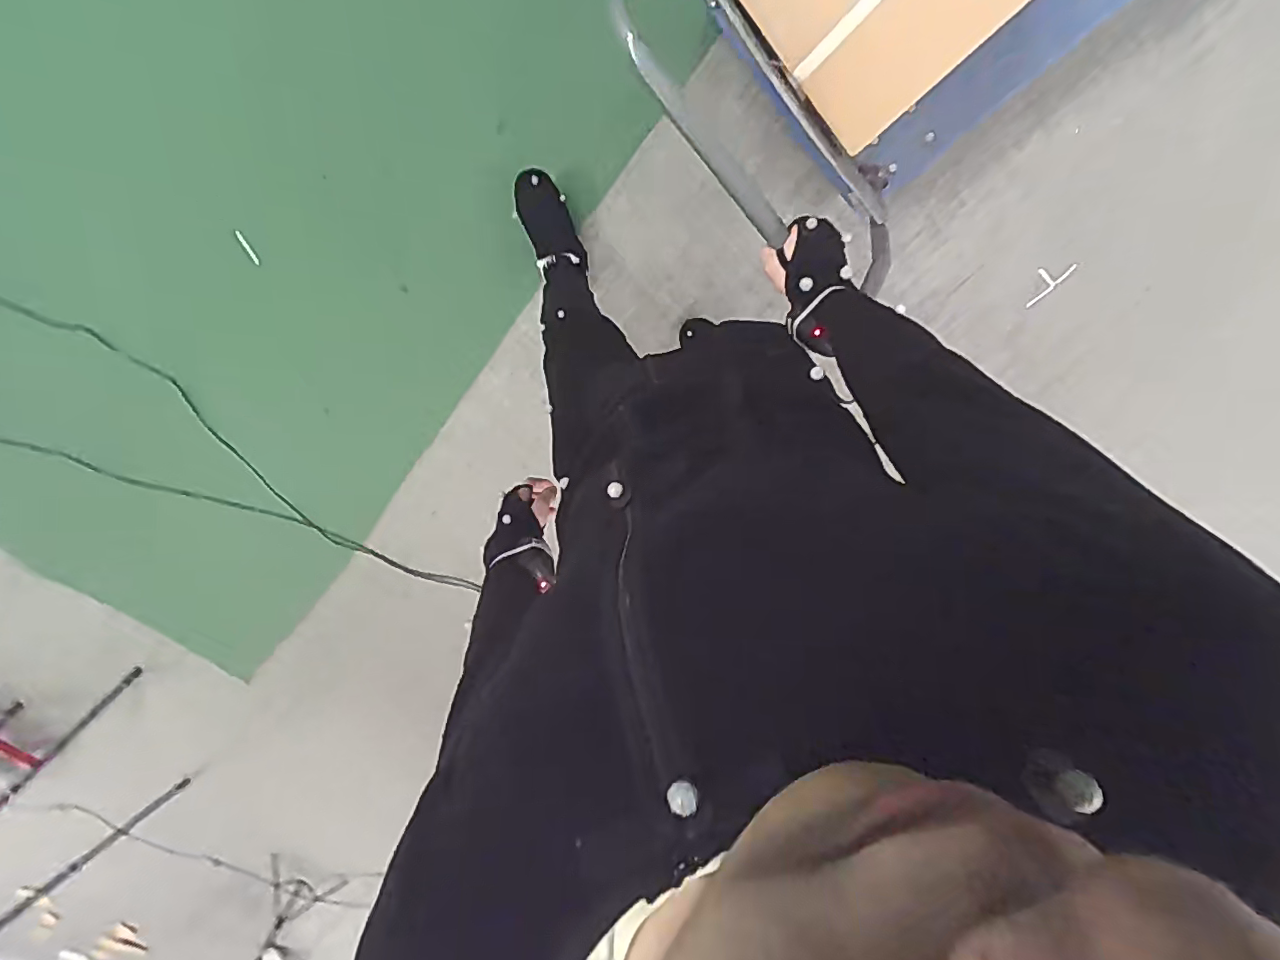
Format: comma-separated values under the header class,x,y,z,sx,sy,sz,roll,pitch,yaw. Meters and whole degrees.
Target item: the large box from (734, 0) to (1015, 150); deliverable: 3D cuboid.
class,x,y,z,sx,sy,sz,roll,pitch,yaw
large box,0.409,-0.830,0.870,0.320,0.320,0.408,43,127,-18
